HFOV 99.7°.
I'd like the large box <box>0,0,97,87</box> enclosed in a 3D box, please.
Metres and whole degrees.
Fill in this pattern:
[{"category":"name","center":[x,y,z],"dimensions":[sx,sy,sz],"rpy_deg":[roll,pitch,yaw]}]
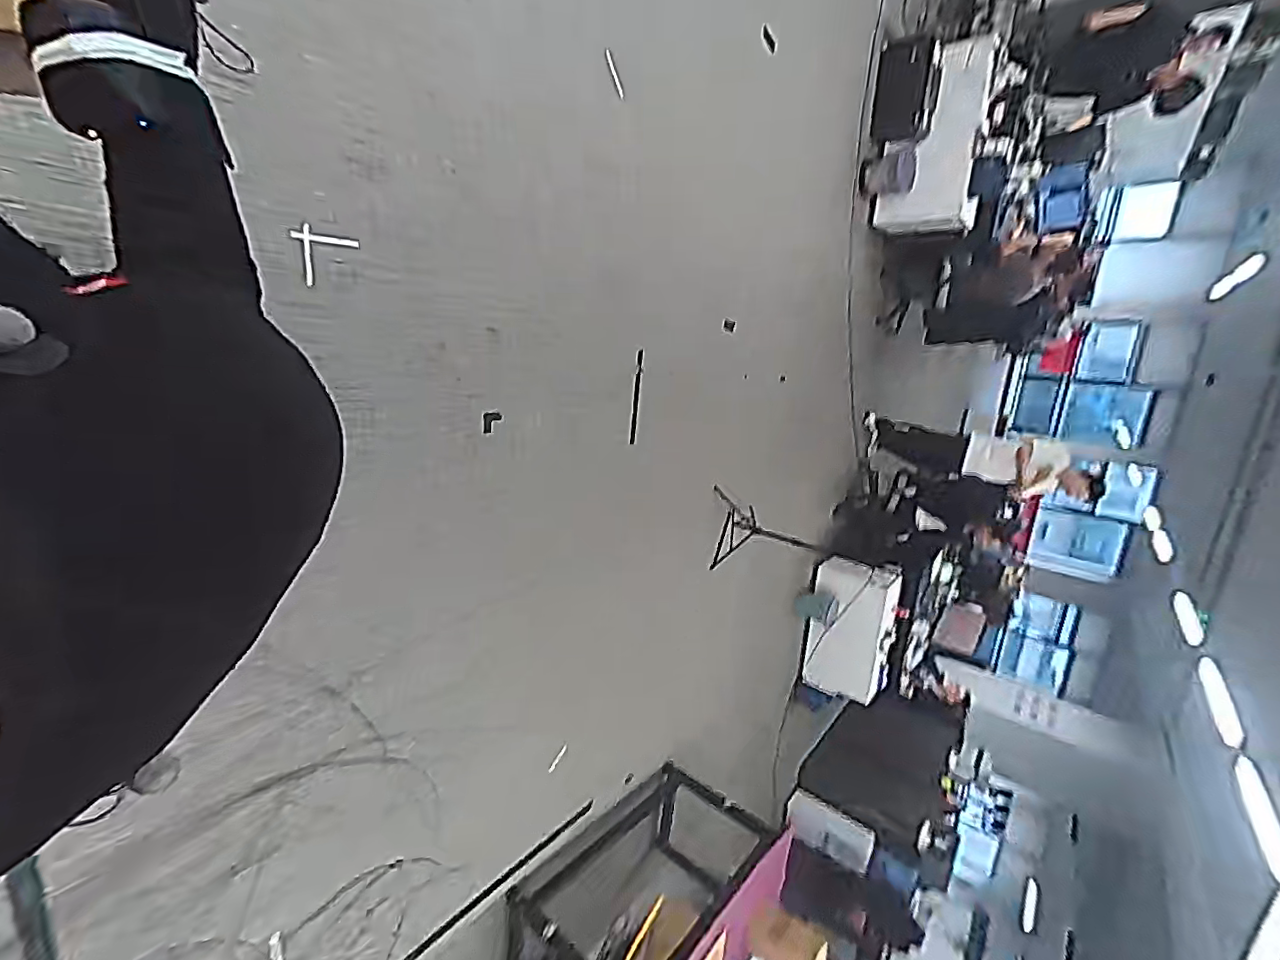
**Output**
[{"category":"large box","center":[-0.594,-0.414,0.238],"dimensions":[0.408,0.320,0.320],"rpy_deg":[-25,128,-46]}]
